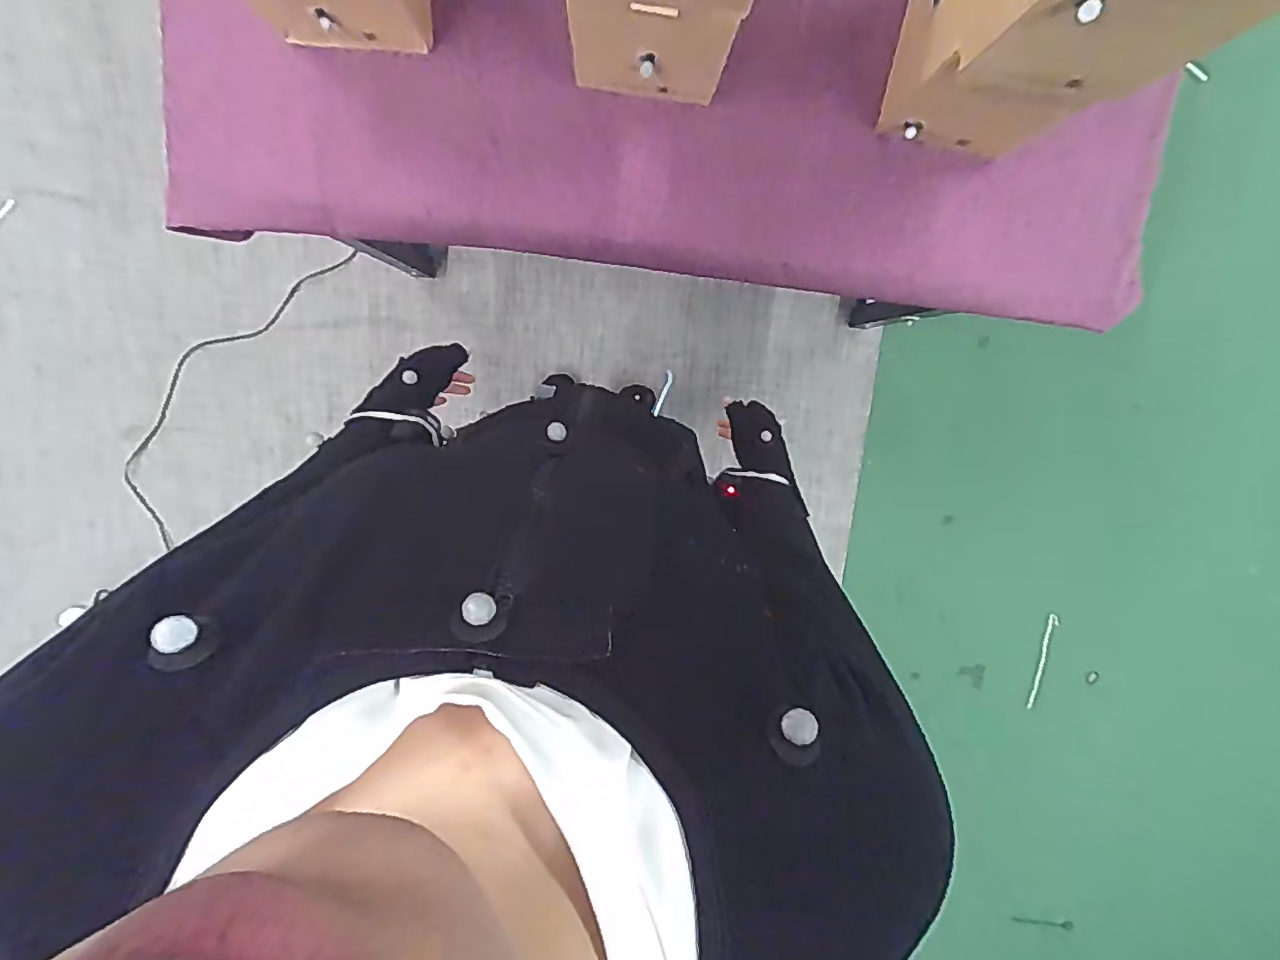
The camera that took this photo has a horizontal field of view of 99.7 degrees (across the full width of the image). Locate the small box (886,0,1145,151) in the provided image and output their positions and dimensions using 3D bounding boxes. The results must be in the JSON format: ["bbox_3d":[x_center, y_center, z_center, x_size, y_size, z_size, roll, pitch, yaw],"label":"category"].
[{"bbox_3d":[0.393,-0.489,0.581,0.168,0.176,0.179,11,100,-5],"label":"small box"}]

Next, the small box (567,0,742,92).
[{"bbox_3d":[0.018,-0.536,0.555,0.168,0.176,0.179,3,101,-2],"label":"small box"}]

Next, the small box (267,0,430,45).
[{"bbox_3d":[-0.315,-0.577,0.527,0.168,0.176,0.179,1,103,-4],"label":"small box"}]
